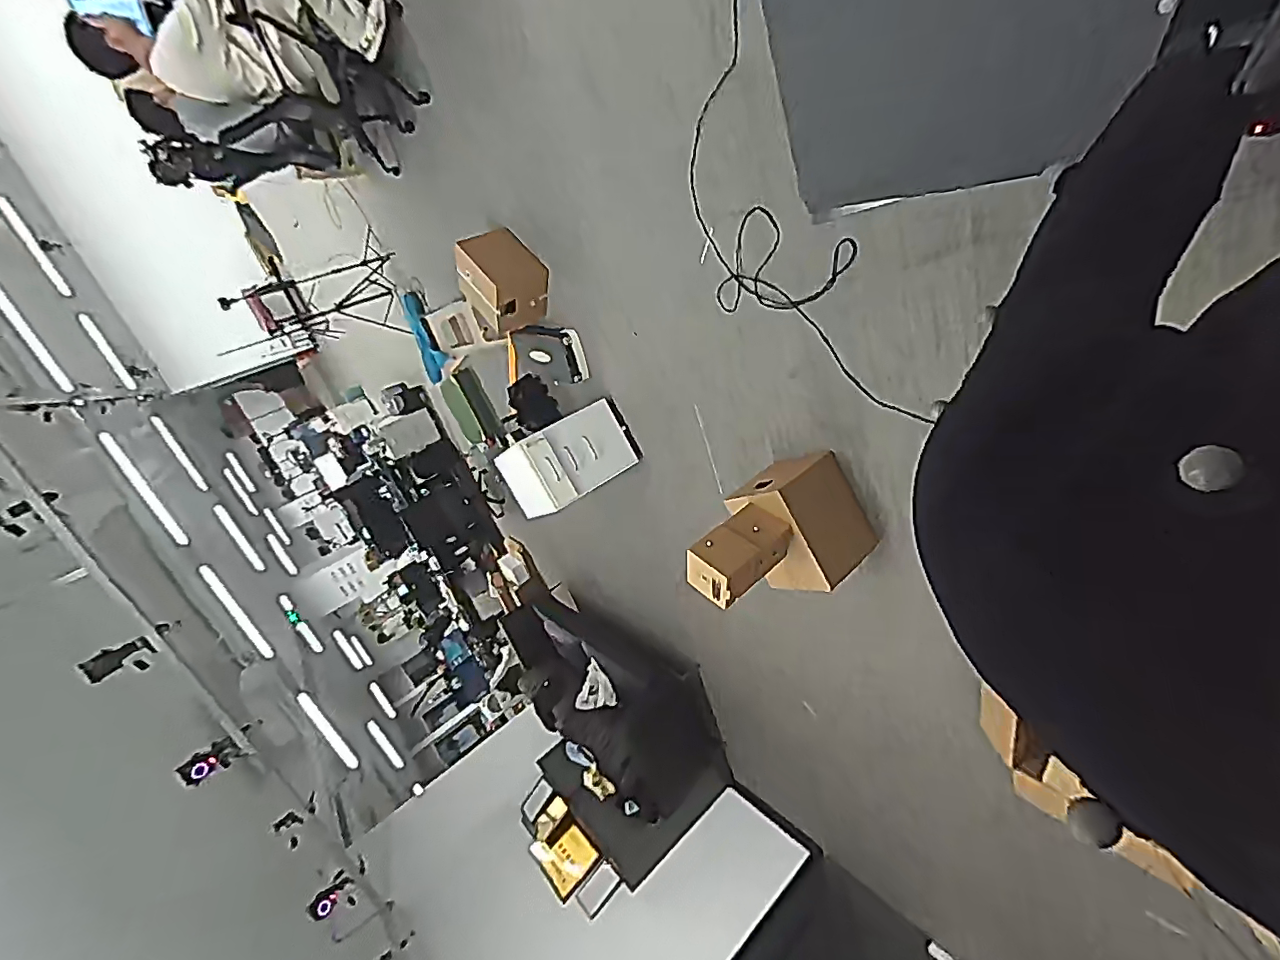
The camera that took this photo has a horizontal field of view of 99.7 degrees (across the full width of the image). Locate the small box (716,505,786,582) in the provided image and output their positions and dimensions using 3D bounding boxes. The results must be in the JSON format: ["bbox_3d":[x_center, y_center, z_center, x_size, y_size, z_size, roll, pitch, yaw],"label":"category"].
[{"bbox_3d":[0.389,0.215,1.896,0.179,0.176,0.168,32,142,35],"label":"small box"}]

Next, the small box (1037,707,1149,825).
[{"bbox_3d":[1.183,0.737,1.412,0.168,0.176,0.179,29,140,48],"label":"small box"}]
